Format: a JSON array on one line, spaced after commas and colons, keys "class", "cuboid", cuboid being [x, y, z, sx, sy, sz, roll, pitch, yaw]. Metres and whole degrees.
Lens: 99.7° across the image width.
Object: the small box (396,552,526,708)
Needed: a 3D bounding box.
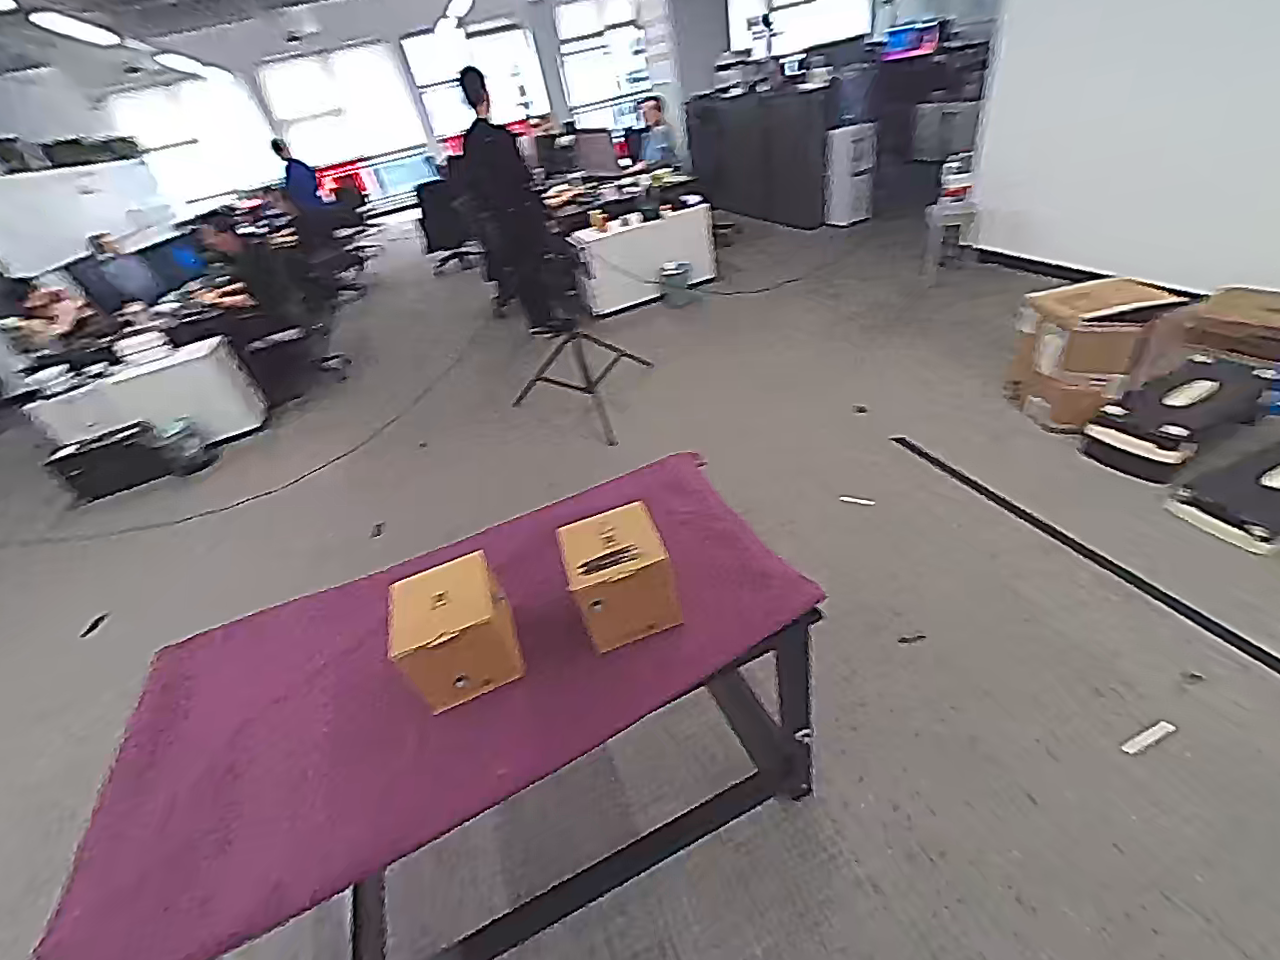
[{"class": "small box", "cuboid": [-0.318, 0.266, 0.968, 0.168, 0.176, 0.179, -21, 37, -10]}]
